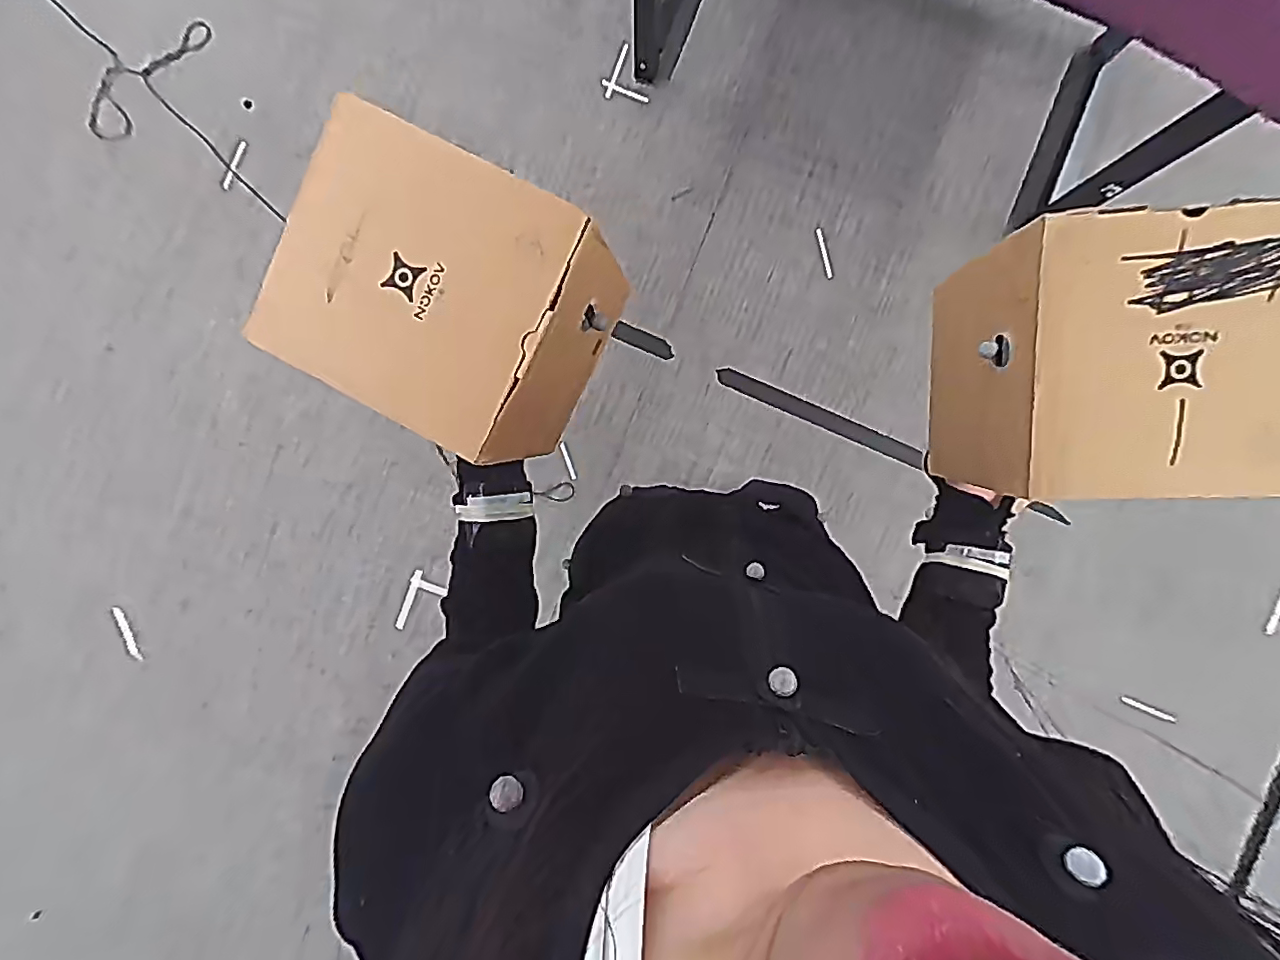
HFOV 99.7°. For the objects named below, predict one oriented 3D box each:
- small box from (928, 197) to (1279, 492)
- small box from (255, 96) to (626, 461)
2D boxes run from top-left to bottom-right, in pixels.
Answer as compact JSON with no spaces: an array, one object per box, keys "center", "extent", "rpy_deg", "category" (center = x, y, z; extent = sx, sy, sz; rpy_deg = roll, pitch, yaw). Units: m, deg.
[{"center":[0.336,-0.087,0.408],"extent":[0.168,0.176,0.179],"rpy_deg":[-1,97,8],"category":"small box"},{"center":[-0.126,-0.129,0.409],"extent":[0.179,0.176,0.168],"rpy_deg":[27,97,4],"category":"small box"}]
